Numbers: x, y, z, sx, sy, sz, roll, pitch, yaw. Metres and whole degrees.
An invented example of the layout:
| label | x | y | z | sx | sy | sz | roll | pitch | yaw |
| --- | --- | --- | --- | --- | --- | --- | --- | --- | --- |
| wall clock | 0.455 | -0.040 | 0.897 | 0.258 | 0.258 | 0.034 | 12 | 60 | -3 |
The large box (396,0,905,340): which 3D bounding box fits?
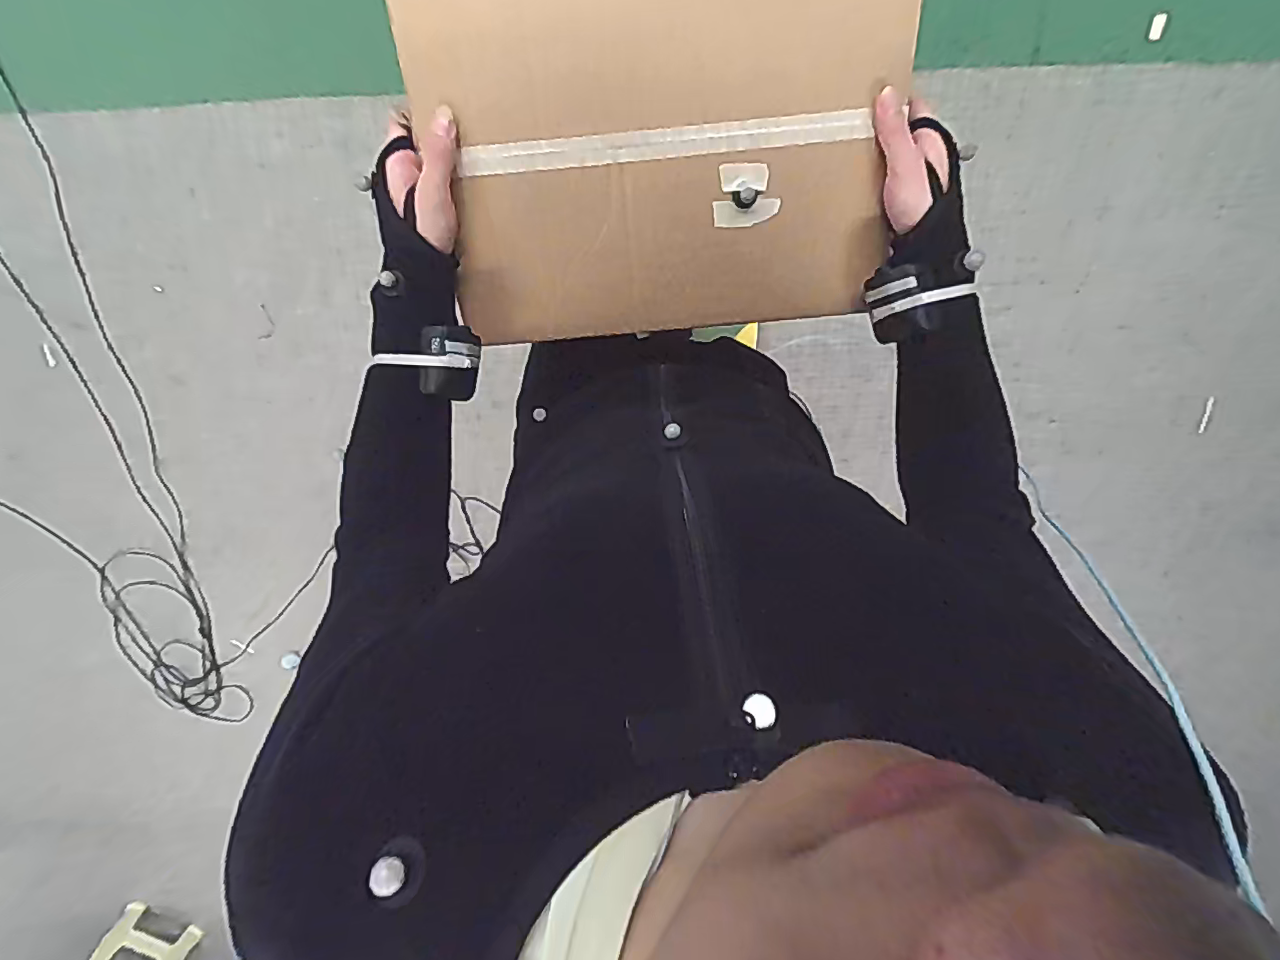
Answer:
| label | x | y | z | sx | sy | sz | roll | pitch | yaw |
| --- | --- | --- | --- | --- | --- | --- | --- | --- | --- |
| large box | 0.011 | -0.363 | 0.597 | 0.408 | 0.320 | 0.320 | -6 | 119 | -1 |
